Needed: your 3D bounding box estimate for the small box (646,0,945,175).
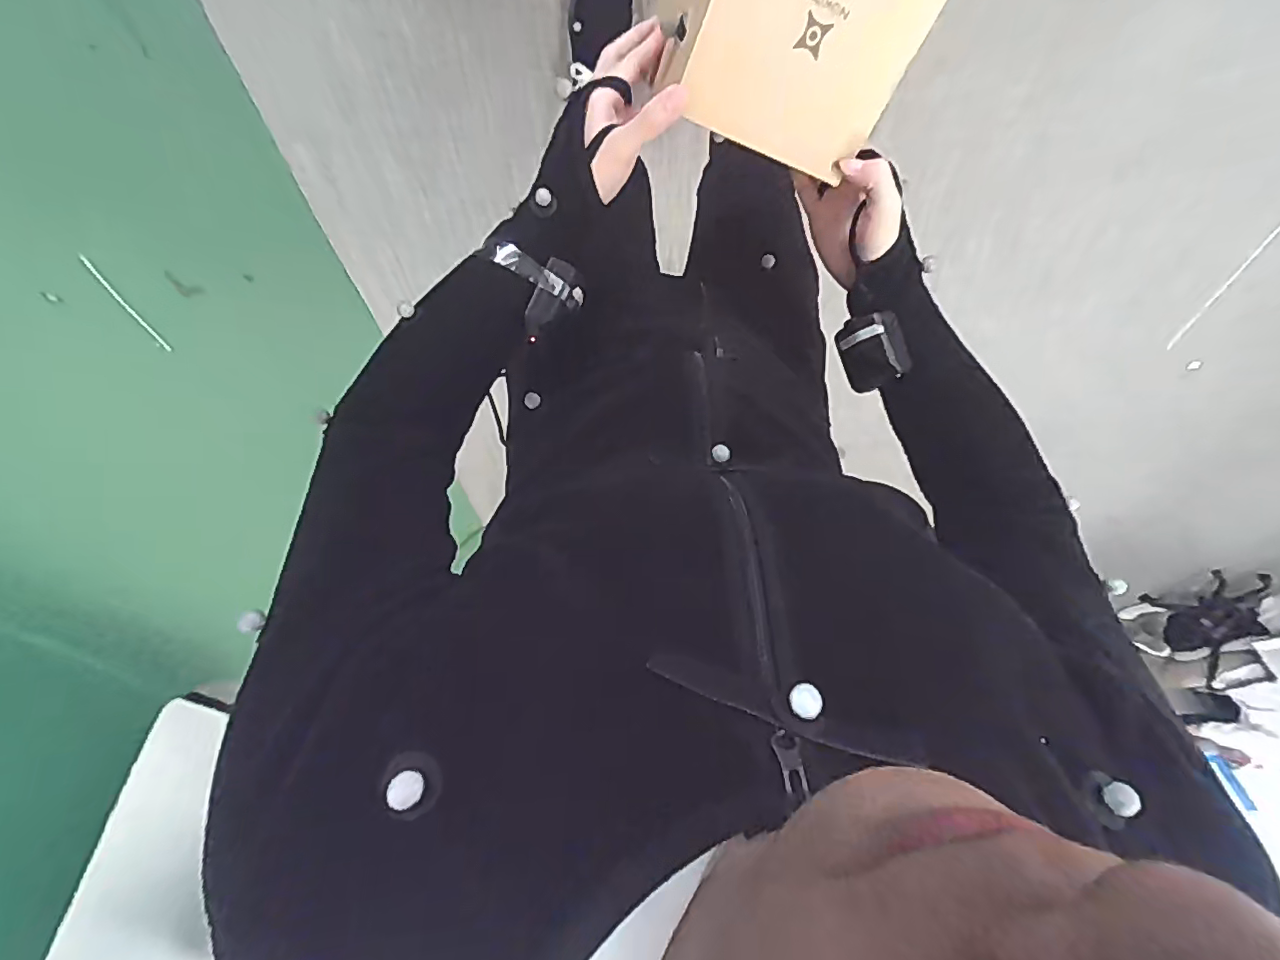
[{"bbox_3d":[0.116,-0.389,0.434,0.168,0.176,0.179,9,132,-24],"label":"small box"}]
